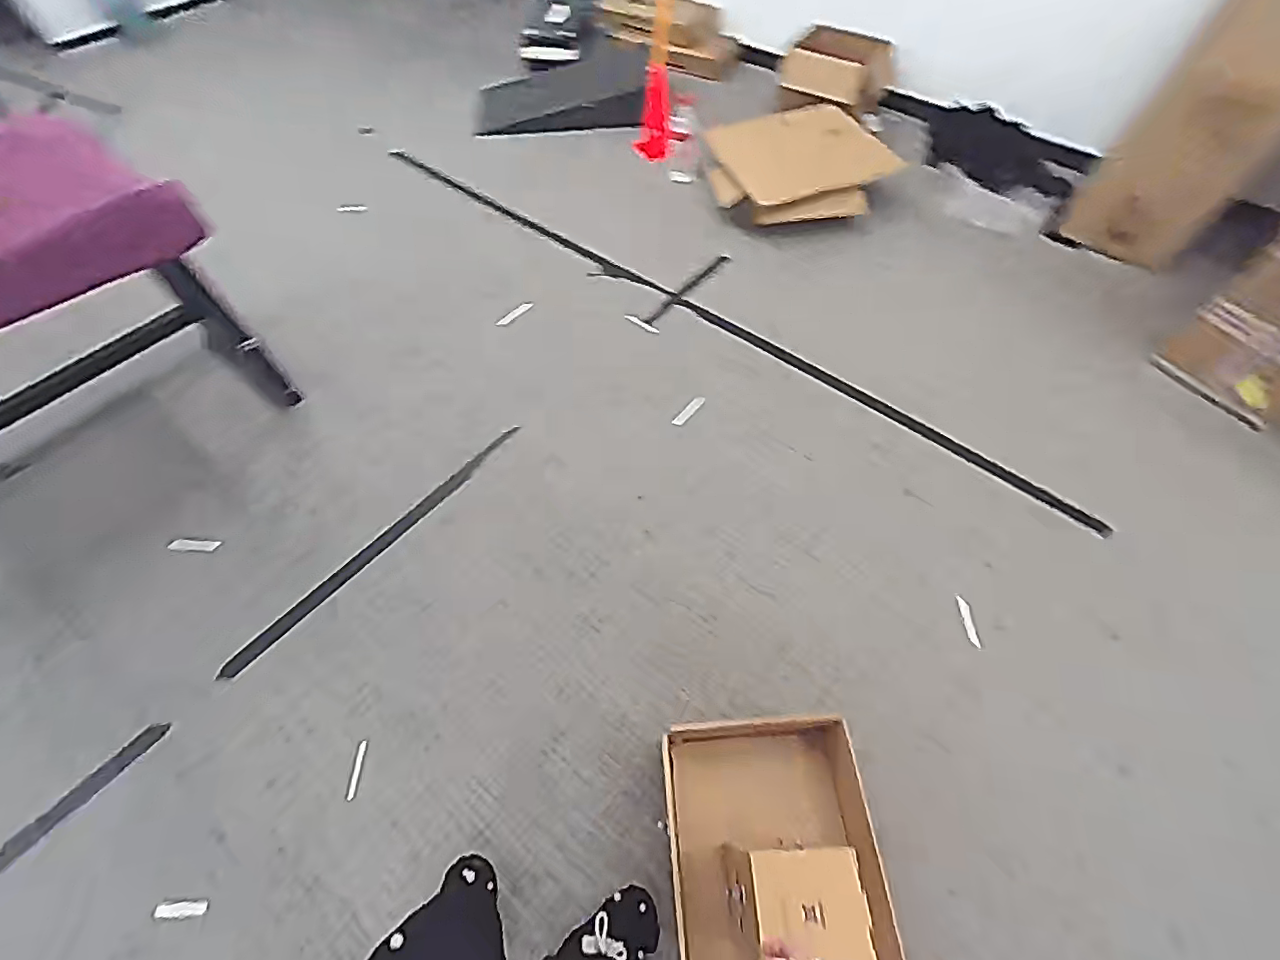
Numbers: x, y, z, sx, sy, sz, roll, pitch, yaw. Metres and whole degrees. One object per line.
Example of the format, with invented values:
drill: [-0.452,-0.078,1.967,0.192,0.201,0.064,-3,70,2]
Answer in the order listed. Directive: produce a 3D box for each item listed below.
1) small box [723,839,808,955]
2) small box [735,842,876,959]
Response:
small box: [0.265,0.799,1.049,0.179,0.176,0.168,0,58,0]
small box: [0.267,0.714,0.910,0.179,0.176,0.168,-2,58,0]
